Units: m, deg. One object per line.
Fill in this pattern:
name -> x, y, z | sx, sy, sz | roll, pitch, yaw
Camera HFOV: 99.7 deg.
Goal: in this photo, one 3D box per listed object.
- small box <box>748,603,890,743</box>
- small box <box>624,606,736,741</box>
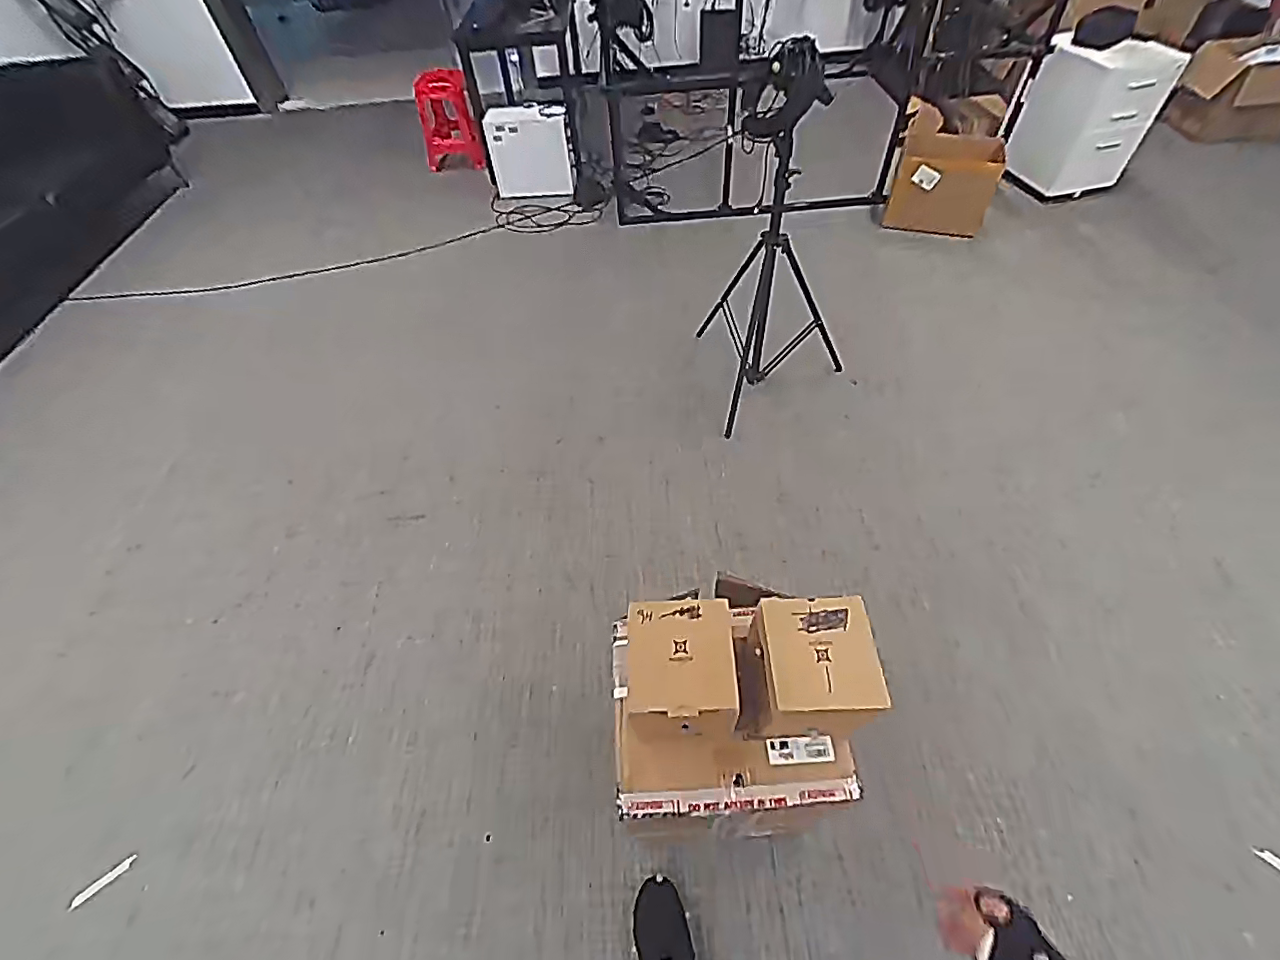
small box -> 0.277, 0.317, 0.883 | 0.168, 0.176, 0.179 | -2, 54, 1
small box -> 0.067, 0.324, 0.890 | 0.168, 0.176, 0.179 | -3, 53, 4
